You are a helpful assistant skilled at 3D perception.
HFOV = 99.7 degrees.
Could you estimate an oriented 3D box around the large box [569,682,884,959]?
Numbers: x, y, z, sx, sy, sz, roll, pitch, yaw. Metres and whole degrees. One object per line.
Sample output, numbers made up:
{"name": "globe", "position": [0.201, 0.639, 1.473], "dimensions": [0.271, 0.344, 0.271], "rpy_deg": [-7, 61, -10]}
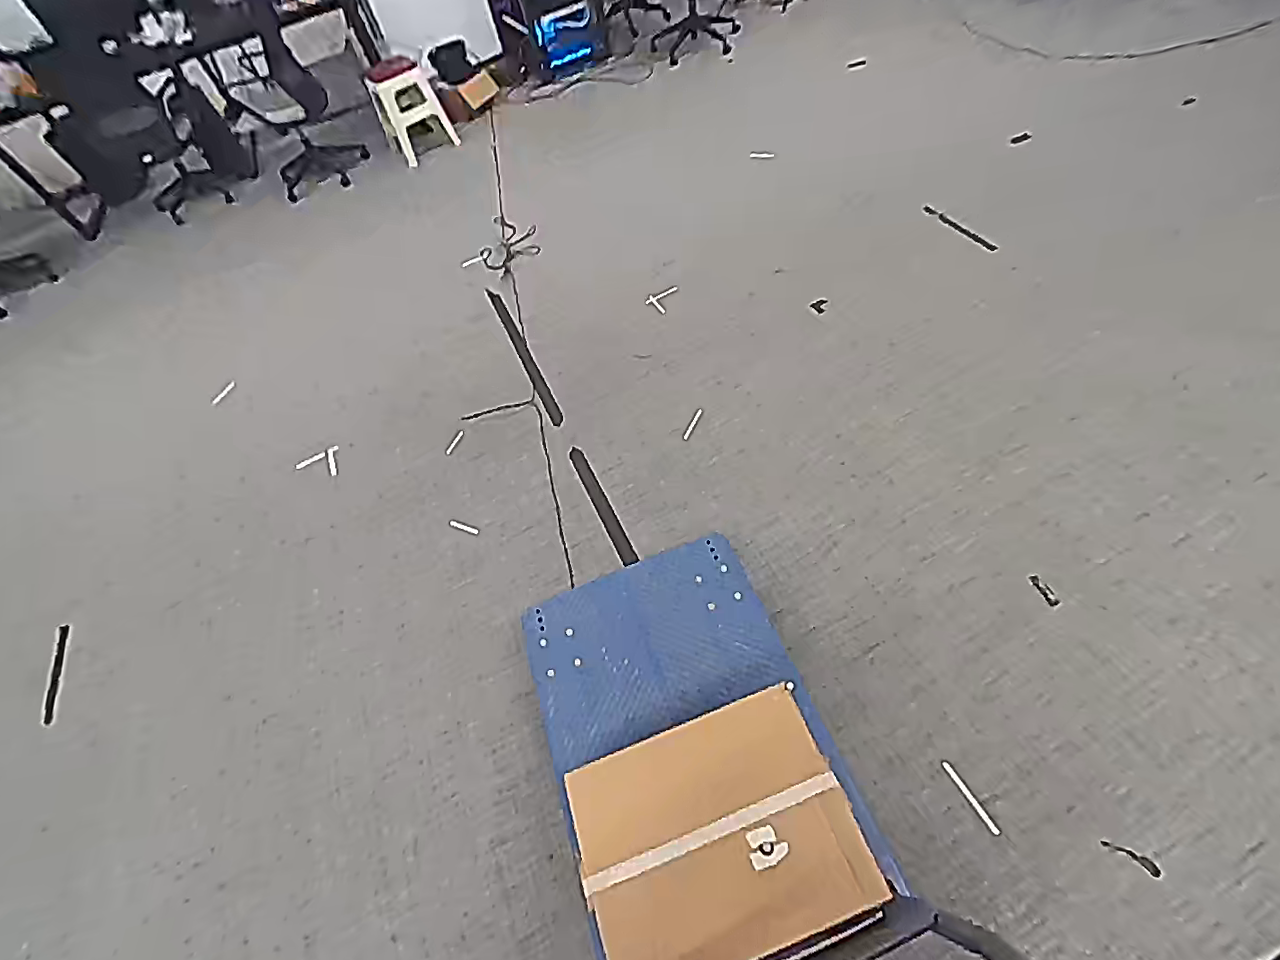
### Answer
{"name": "large box", "position": [0.136, 0.618, 0.951], "dimensions": [0.408, 0.320, 0.320], "rpy_deg": [-21, 55, -4]}
